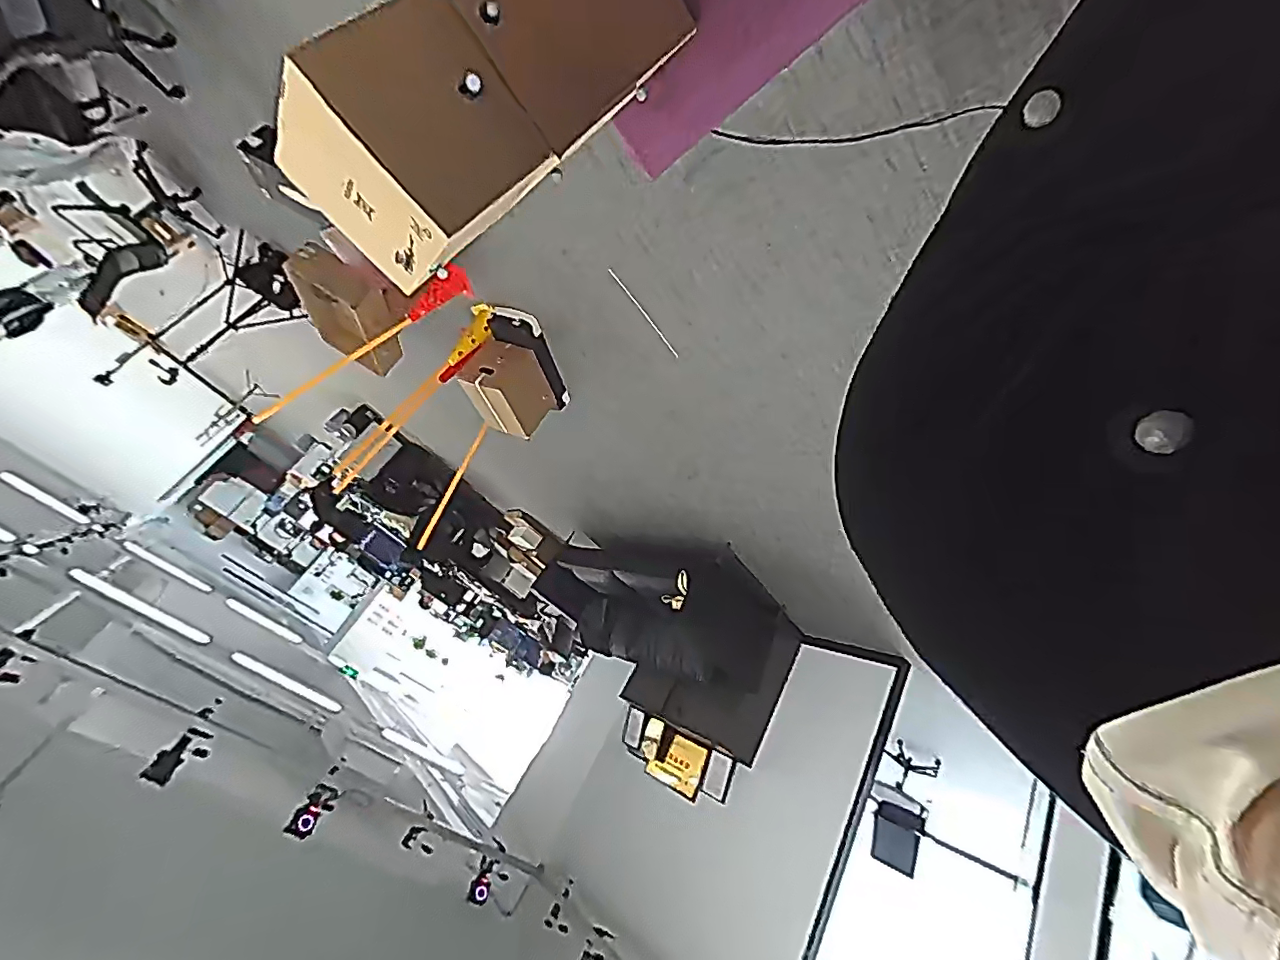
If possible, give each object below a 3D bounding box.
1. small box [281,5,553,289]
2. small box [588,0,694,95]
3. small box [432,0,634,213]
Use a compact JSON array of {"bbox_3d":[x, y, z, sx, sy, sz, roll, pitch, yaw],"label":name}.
[{"bbox_3d":[-0.228,-0.341,0.564,0.179,0.176,0.168,48,153,-25],"label":"small box"},{"bbox_3d":[-0.064,-0.587,0.701,0.168,0.176,0.179,-2,138,52],"label":"small box"},{"bbox_3d":[-0.139,-0.461,0.634,0.168,0.176,0.179,0,138,52],"label":"small box"}]
